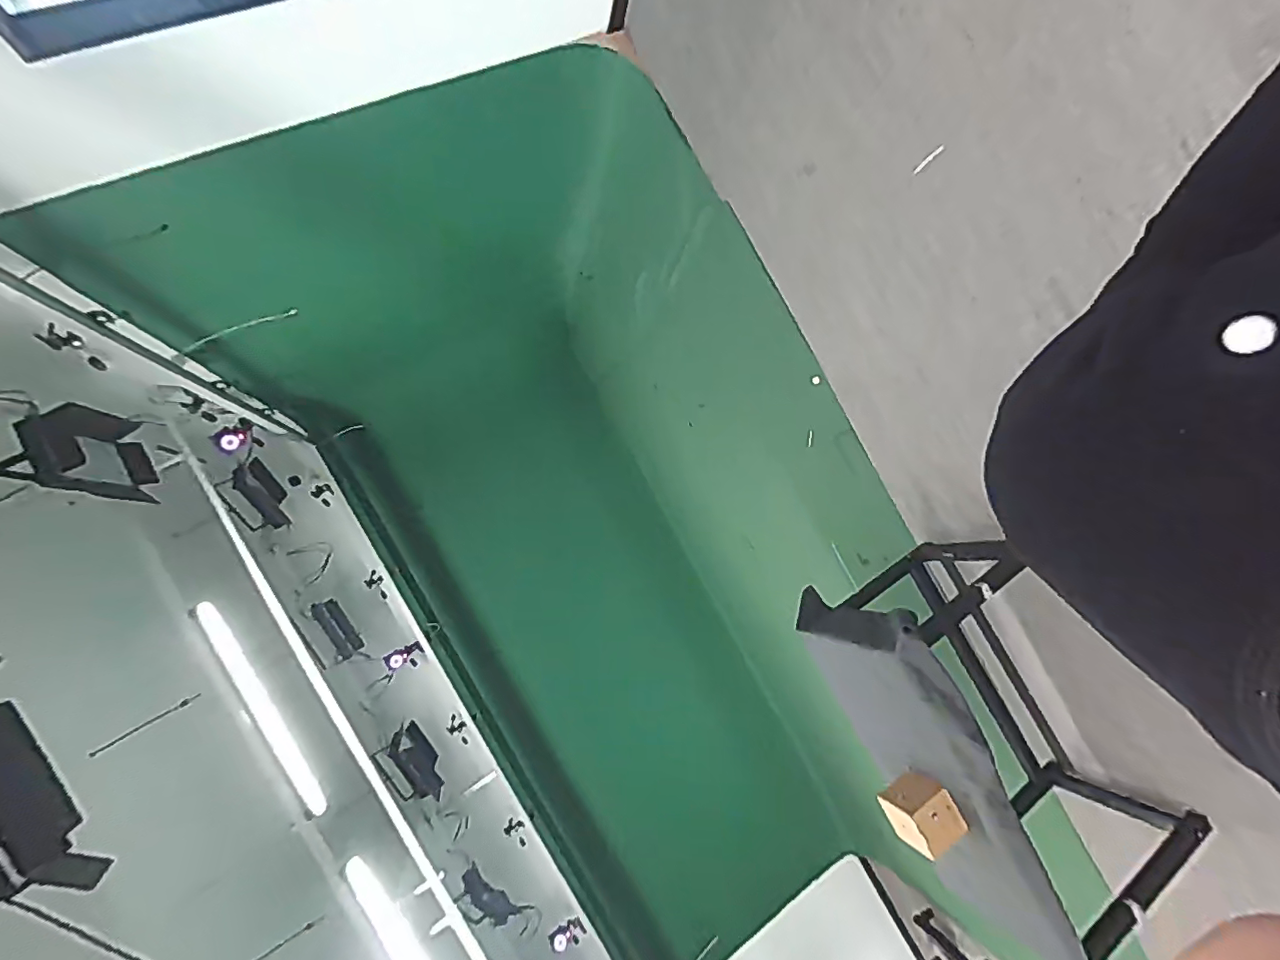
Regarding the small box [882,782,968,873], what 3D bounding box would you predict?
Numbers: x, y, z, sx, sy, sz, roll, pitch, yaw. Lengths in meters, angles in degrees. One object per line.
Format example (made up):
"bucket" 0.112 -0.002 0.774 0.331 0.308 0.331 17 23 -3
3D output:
"small box" 0.978 1.174 1.845 0.168 0.176 0.179 62 165 2
